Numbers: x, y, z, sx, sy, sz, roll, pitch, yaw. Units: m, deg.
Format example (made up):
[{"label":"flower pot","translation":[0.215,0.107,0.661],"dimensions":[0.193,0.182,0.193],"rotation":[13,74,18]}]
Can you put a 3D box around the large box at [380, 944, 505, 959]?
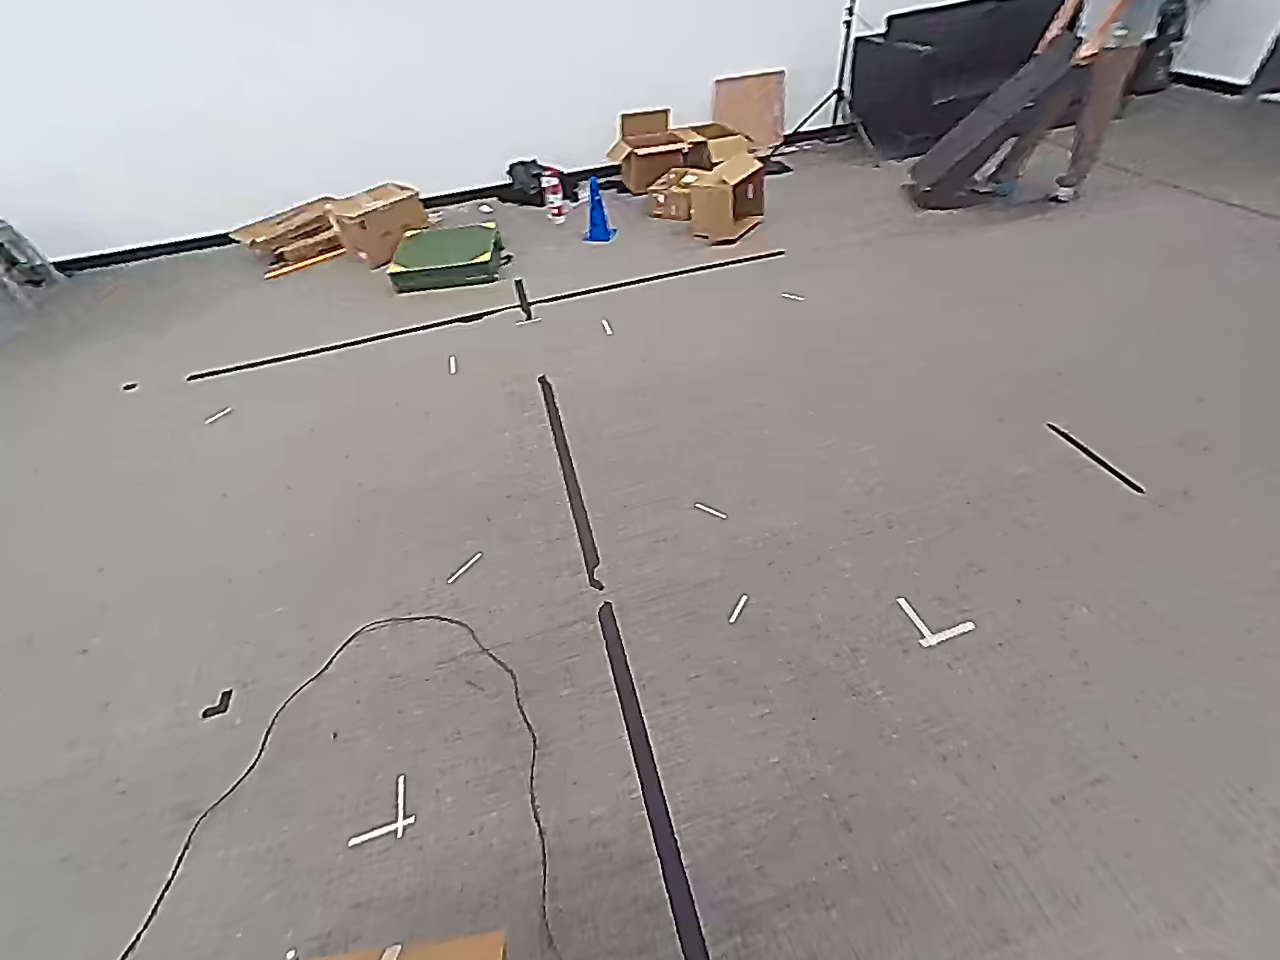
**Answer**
[{"label":"large box","translation":[-0.314,0.827,0.571],"dimensions":[0.320,0.408,0.320],"rotation":[-2,86,-7]}]
